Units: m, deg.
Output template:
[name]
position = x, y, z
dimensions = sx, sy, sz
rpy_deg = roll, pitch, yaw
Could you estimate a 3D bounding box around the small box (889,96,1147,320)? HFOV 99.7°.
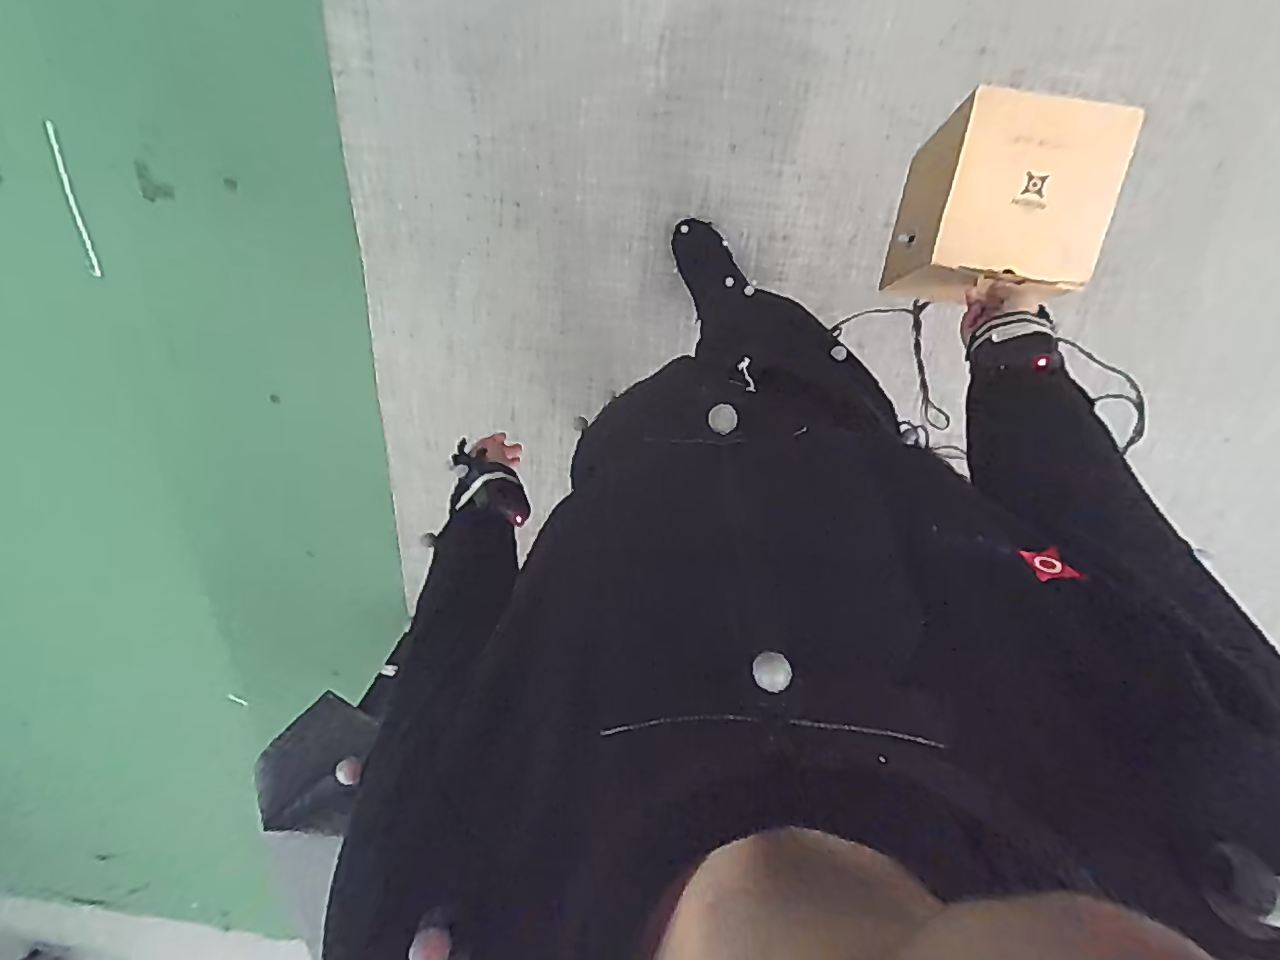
[small box]
position = 0.413, -0.296, 0.630
dimensions = 0.168, 0.176, 0.179
rpy_deg = 12, 97, 4
